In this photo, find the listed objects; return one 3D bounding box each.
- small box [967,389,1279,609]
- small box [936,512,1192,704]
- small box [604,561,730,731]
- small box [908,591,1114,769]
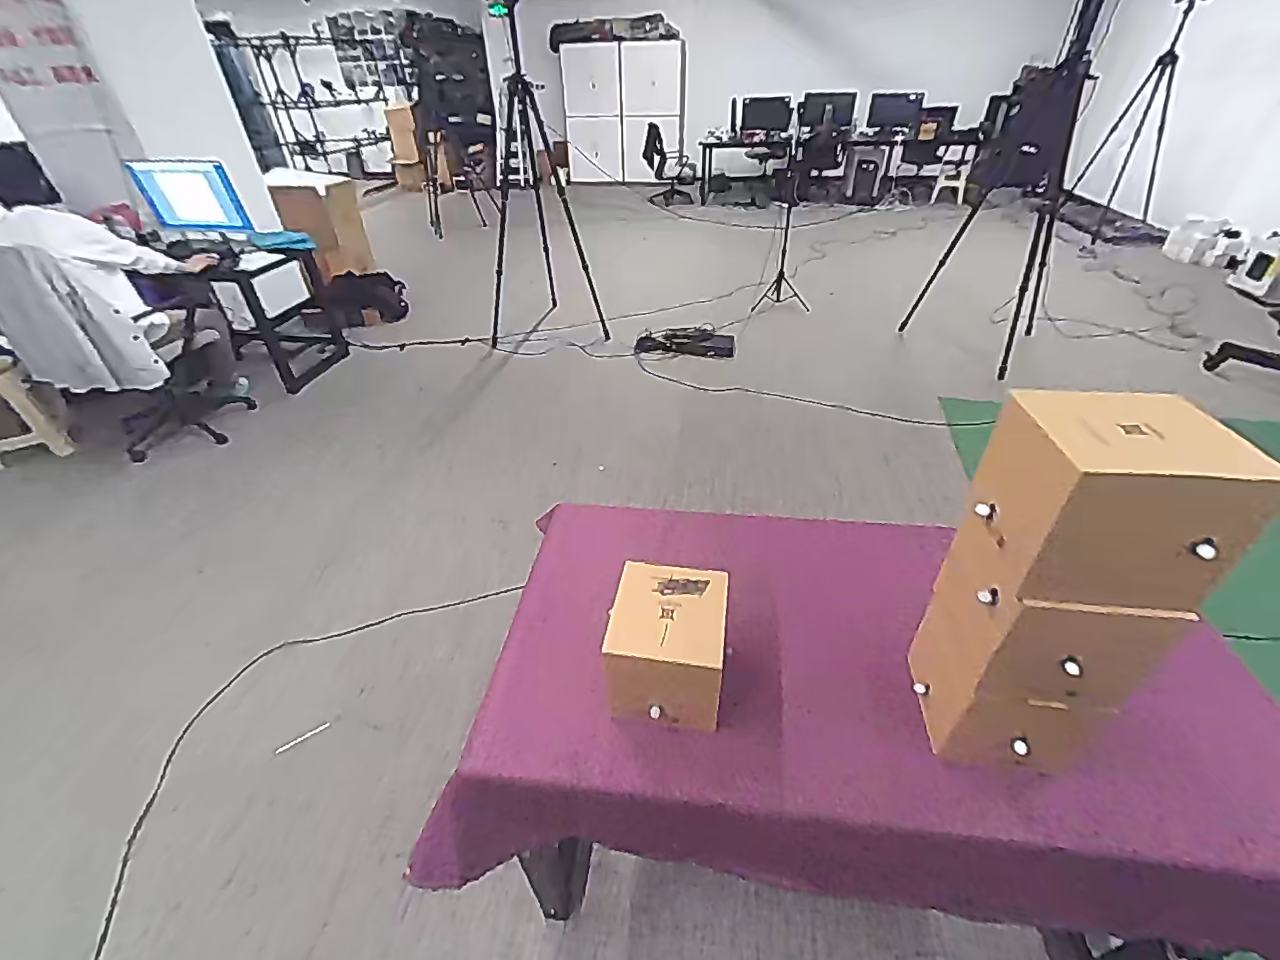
[{"bbox_3d":[0.491,0.019,0.579,0.179,0.176,0.168,3,36,8],"label":"small box"},{"bbox_3d":[0.499,0.152,0.673,0.168,0.176,0.179,4,37,7],"label":"small box"},{"bbox_3d":[0.045,0.252,0.834,0.168,0.176,0.179,5,39,9],"label":"small box"},{"bbox_3d":[0.507,0.284,0.773,0.168,0.176,0.179,4,38,8],"label":"small box"}]
